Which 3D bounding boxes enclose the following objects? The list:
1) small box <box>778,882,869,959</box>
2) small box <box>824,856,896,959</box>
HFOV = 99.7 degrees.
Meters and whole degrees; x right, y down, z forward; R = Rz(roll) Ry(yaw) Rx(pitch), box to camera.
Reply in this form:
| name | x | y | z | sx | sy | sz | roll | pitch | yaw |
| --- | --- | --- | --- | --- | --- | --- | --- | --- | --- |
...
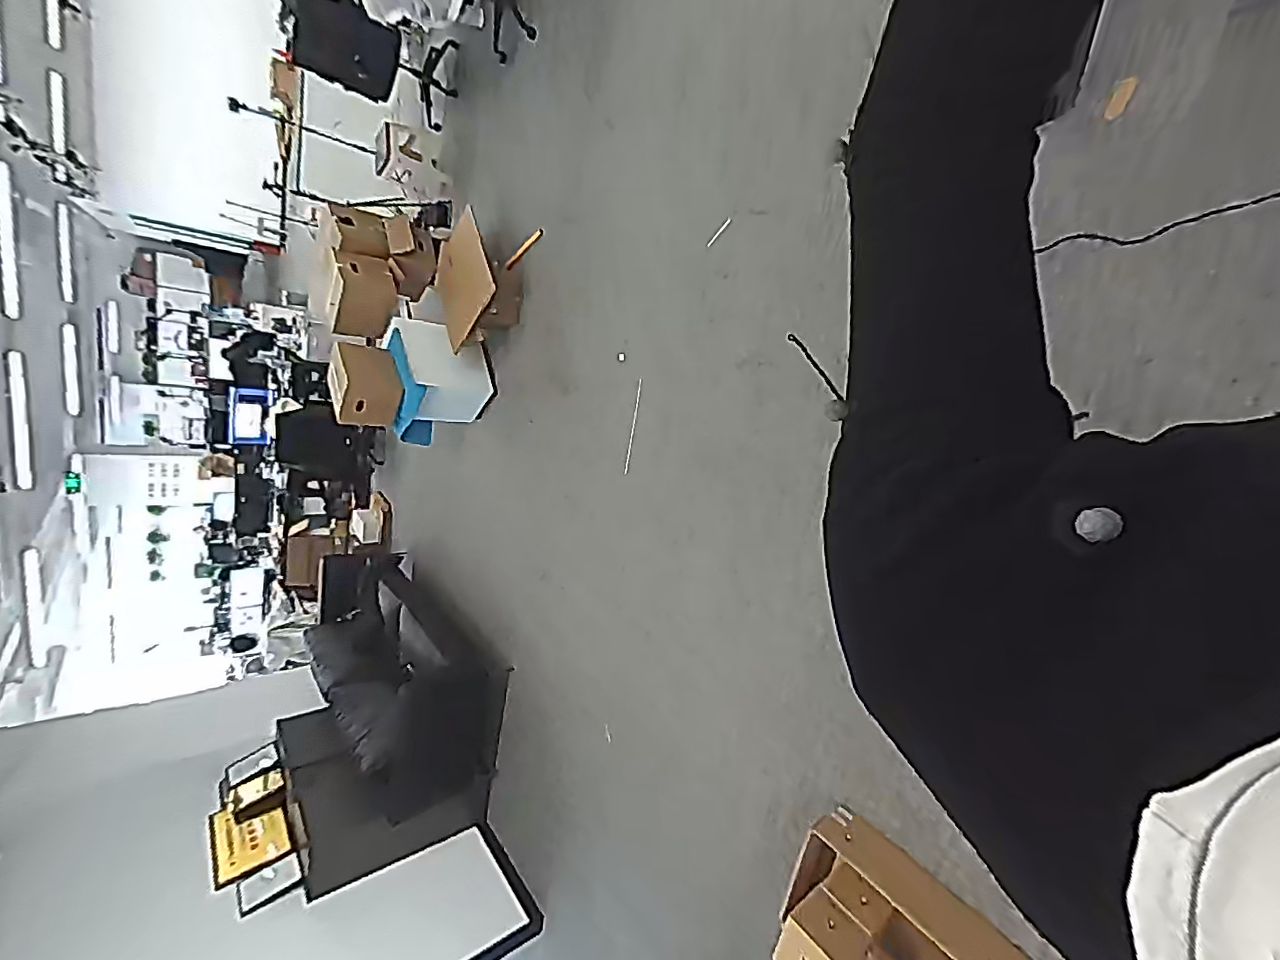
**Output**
| name | x | y | z | sx | sy | sz | roll | pitch | yaw |
| --- | --- | --- | --- | --- | --- | --- | --- | --- | --- |
| small box | 0.527 | 1.310 | 1.543 | 0.168 | 0.176 | 0.179 | 28 | 112 | 45 |
| small box | 0.654 | 1.306 | 1.650 | 0.168 | 0.176 | 0.179 | 27 | 111 | 45 |
